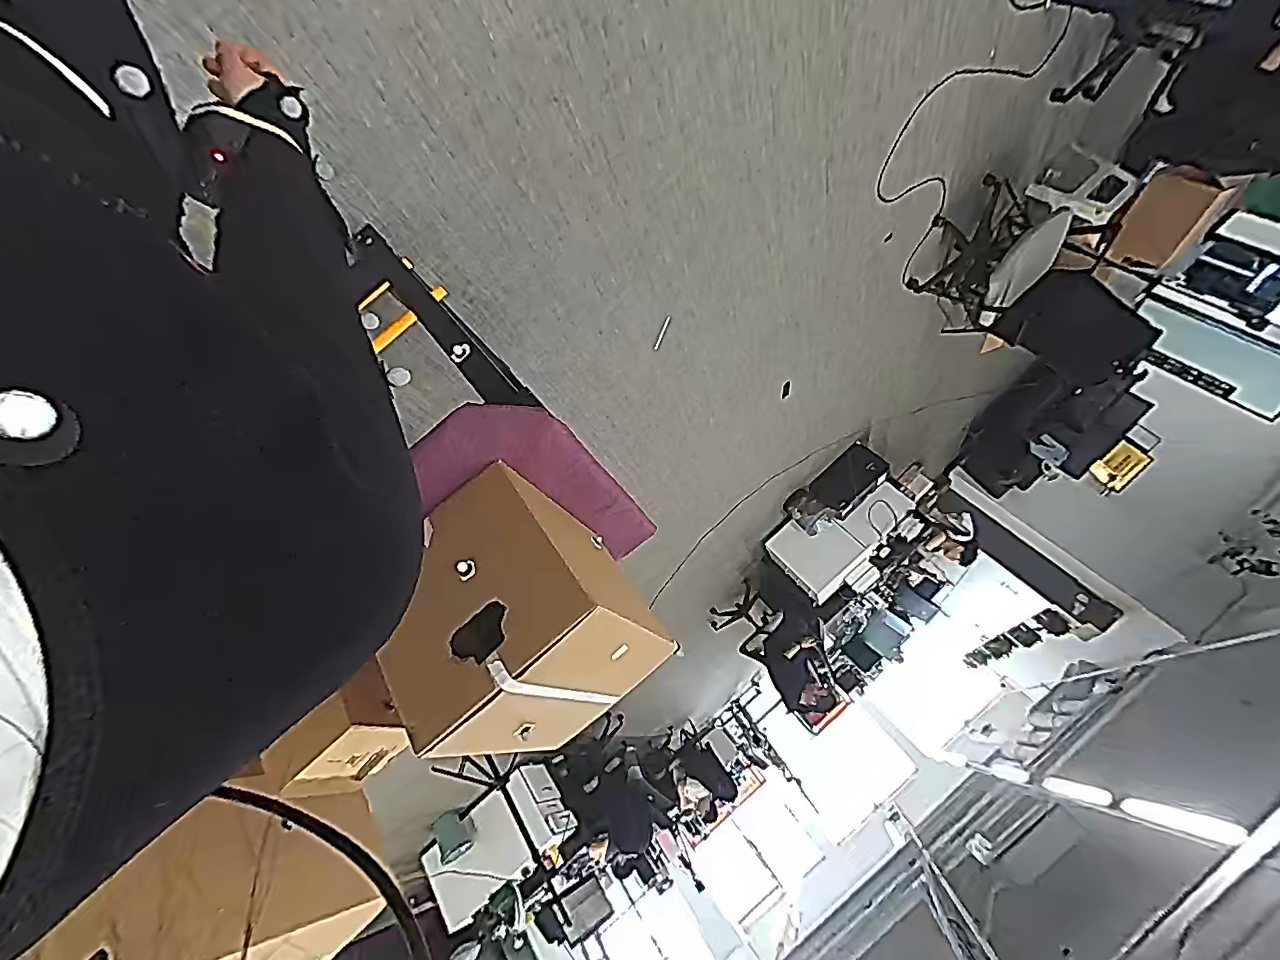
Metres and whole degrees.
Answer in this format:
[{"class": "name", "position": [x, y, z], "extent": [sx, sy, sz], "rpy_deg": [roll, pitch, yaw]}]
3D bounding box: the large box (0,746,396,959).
[{"class": "large box", "position": [-0.727, 0.698, 0.924], "extent": [0.320, 0.320, 0.408], "rpy_deg": [-41, 151, -2]}]
